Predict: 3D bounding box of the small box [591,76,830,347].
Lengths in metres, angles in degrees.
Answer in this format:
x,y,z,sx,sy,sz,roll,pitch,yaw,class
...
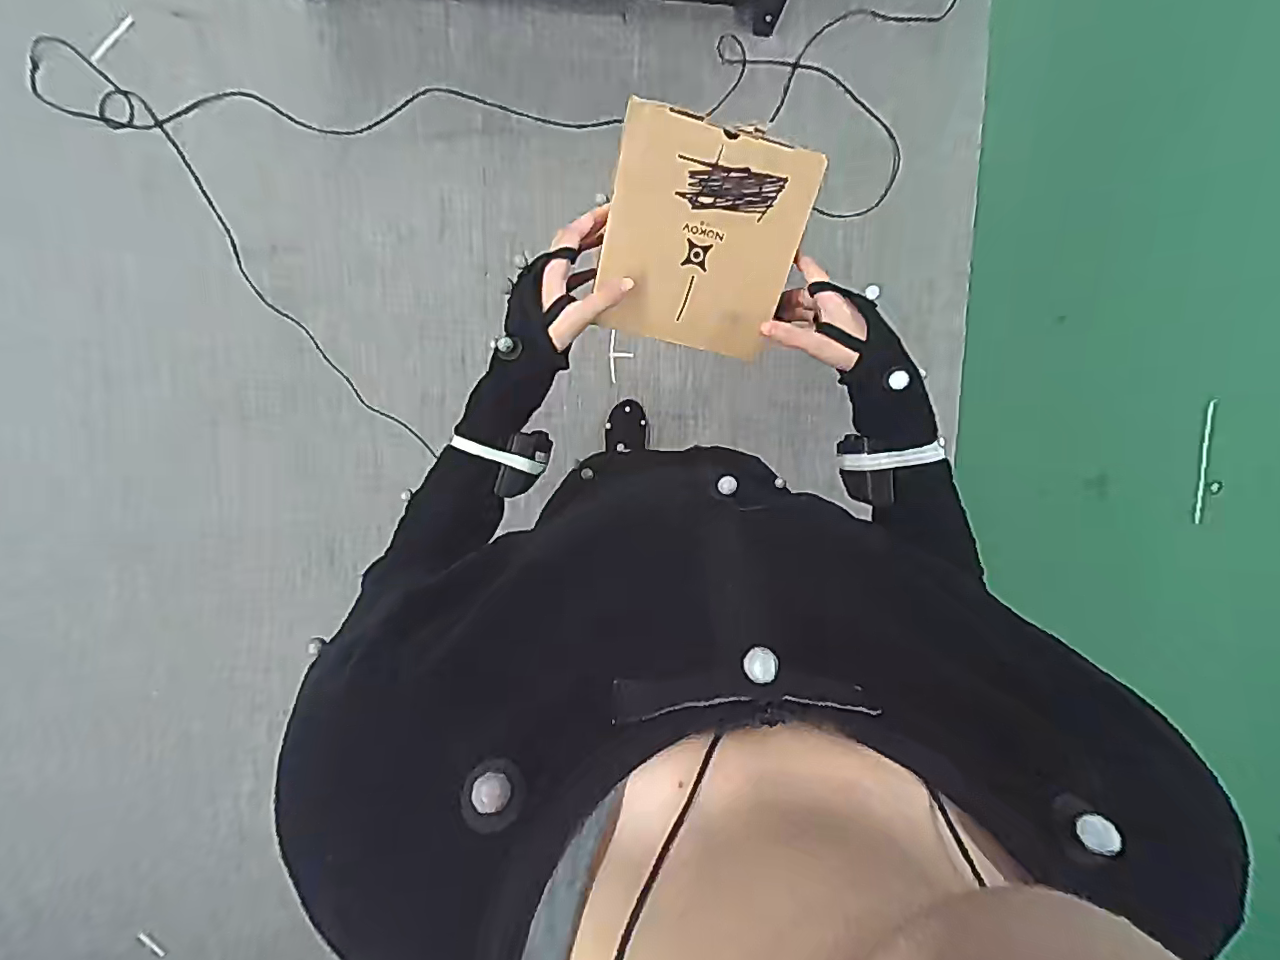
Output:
x,y,z,sx,sy,sz,roll,pitch,yaw,class
0.049,-0.252,0.526,0.168,0.176,0.179,11,118,-9,small box
